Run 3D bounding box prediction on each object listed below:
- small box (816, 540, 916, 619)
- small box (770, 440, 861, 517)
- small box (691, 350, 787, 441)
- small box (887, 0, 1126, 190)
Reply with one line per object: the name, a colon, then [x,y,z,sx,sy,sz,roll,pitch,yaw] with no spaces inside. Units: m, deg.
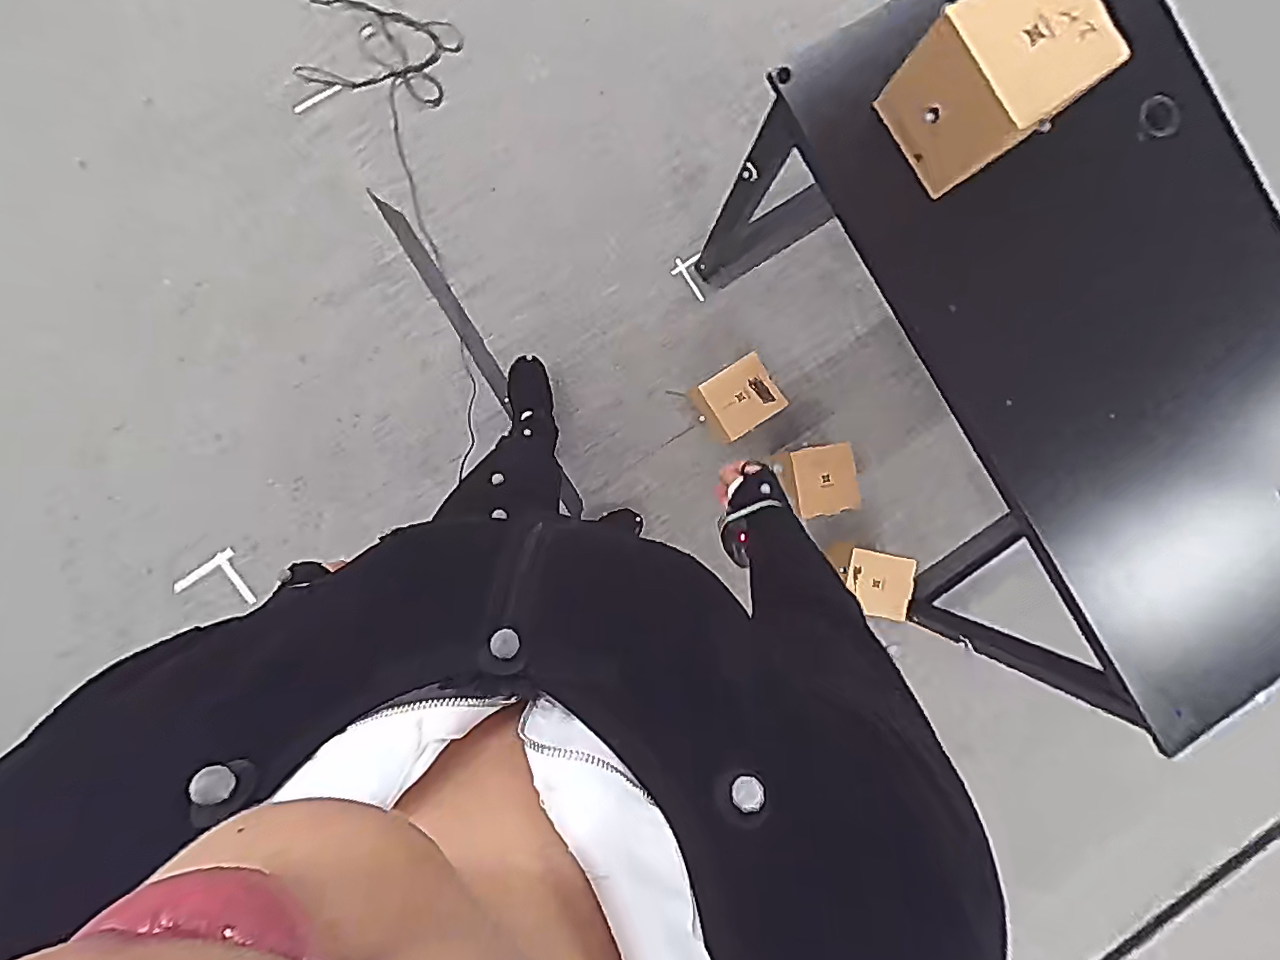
small box: [0.609,0.263,1.475,0.179,0.176,0.168,11,90,-4]
small box: [0.468,-0.005,1.463,0.168,0.176,0.179,-11,90,-5]
small box: [0.256,-0.218,1.441,0.179,0.176,0.168,-33,93,-2]
small box: [0.464,-0.531,0.720,0.179,0.176,0.168,-35,94,-4]
